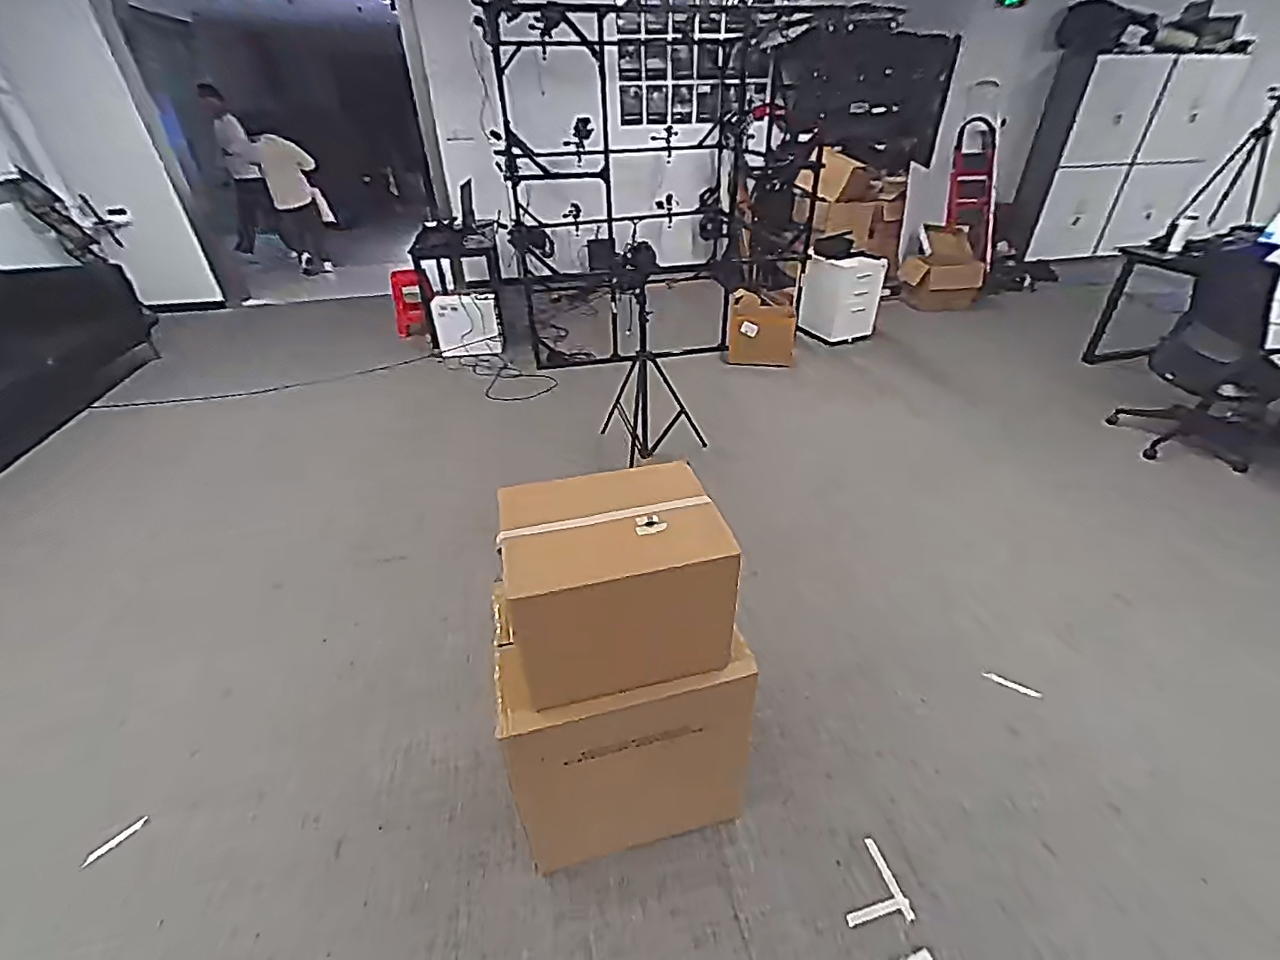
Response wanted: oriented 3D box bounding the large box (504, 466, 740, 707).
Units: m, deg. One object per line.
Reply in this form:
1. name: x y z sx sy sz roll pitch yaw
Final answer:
1. large box: -0.049 0.206 1.115 0.408 0.320 0.320 -9 36 -12
